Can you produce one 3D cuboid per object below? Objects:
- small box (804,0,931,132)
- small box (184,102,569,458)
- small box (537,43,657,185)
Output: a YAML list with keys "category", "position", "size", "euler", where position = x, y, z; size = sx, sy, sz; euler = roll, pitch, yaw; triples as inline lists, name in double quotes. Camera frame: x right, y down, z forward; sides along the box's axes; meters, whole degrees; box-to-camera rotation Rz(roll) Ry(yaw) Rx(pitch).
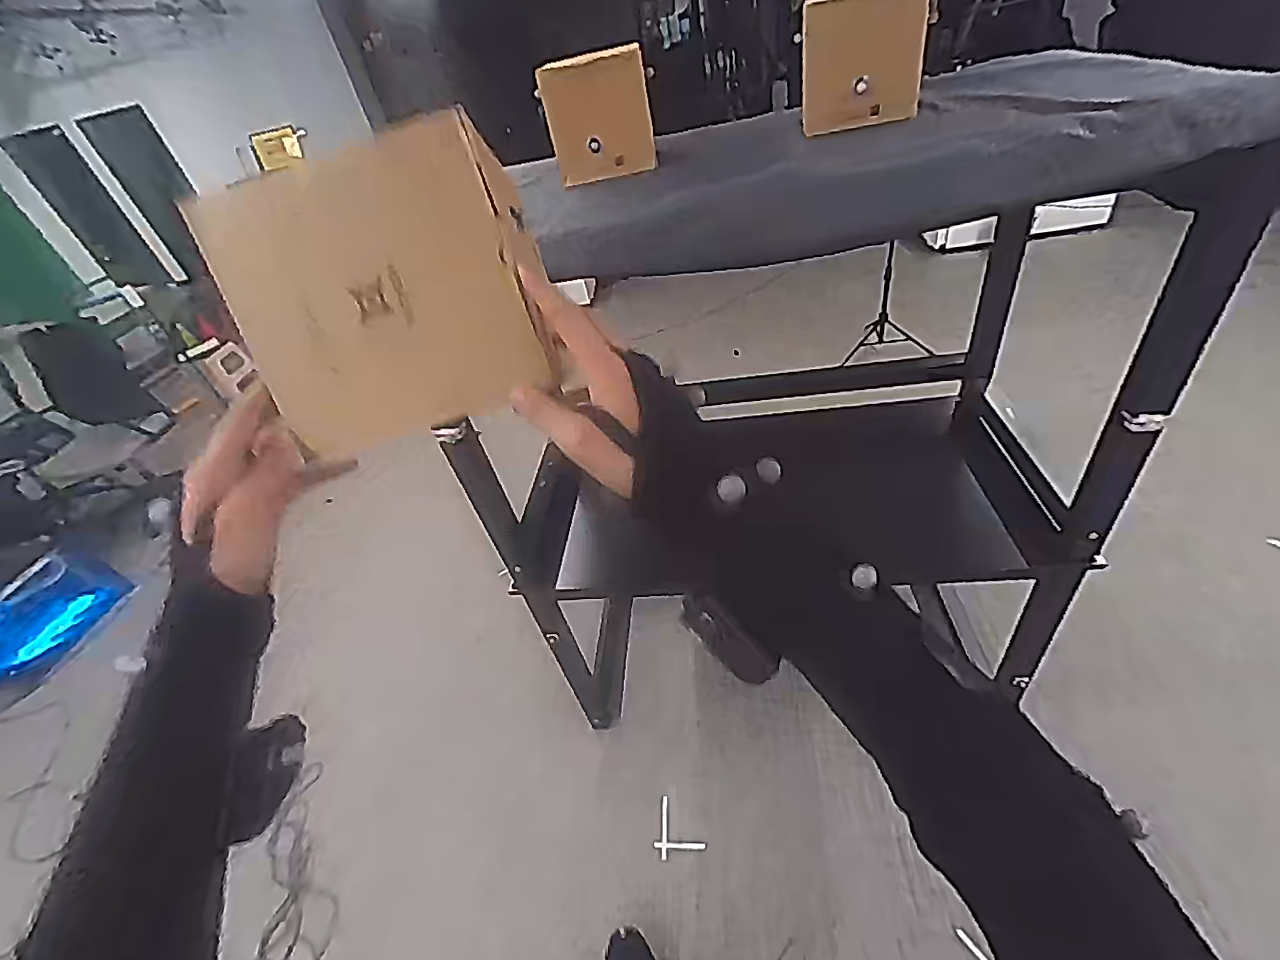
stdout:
- category: "small box"
  position: [0.351, -0.677, 0.866]
  size: [0.168, 0.176, 0.179]
  euler: [-1, 42, 16]
- category: "small box"
  position: [-0.158, -0.134, 0.401]
  size: [0.179, 0.168, 0.176]
  euler: [-18, 15, 2]
- category: "small box"
  position: [-0.065, -0.628, 0.932]
  size: [0.168, 0.176, 0.179]
  euler: [-9, 41, 6]
